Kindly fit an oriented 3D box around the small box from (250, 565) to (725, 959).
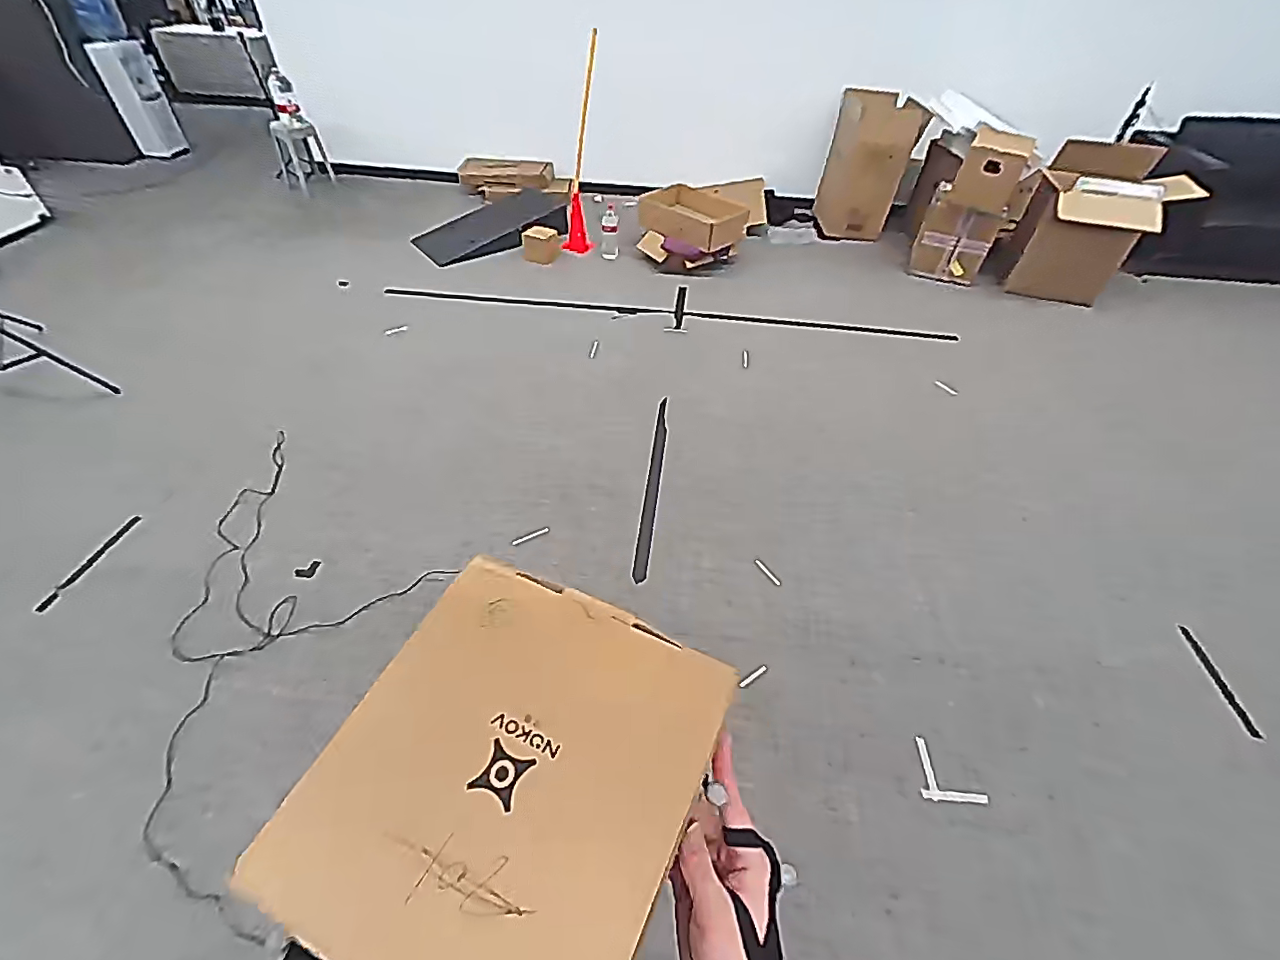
[{"bbox_3d":[-0.061,0.187,0.322,0.168,0.176,0.179,18,55,17],"label":"small box"}]
